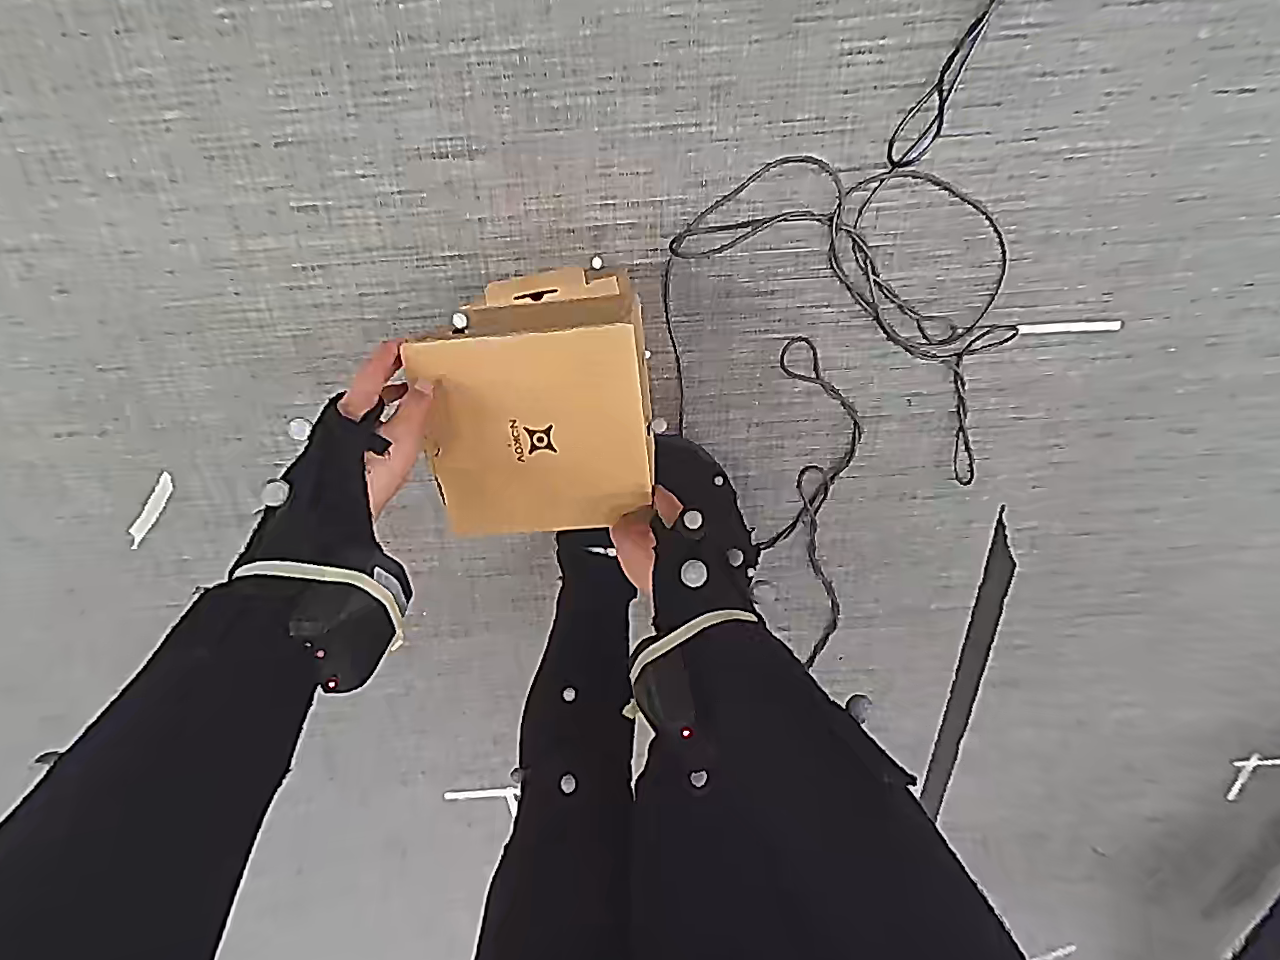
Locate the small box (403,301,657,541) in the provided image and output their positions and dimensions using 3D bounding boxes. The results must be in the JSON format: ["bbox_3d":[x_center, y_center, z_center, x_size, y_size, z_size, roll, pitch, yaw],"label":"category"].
[{"bbox_3d":[-0.078,-0.062,0.494,0.179,0.176,0.168,-4,115,5],"label":"small box"}]

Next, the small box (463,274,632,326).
[{"bbox_3d":[-0.084,-0.140,0.642,0.168,0.176,0.179,-9,116,6],"label":"small box"}]
